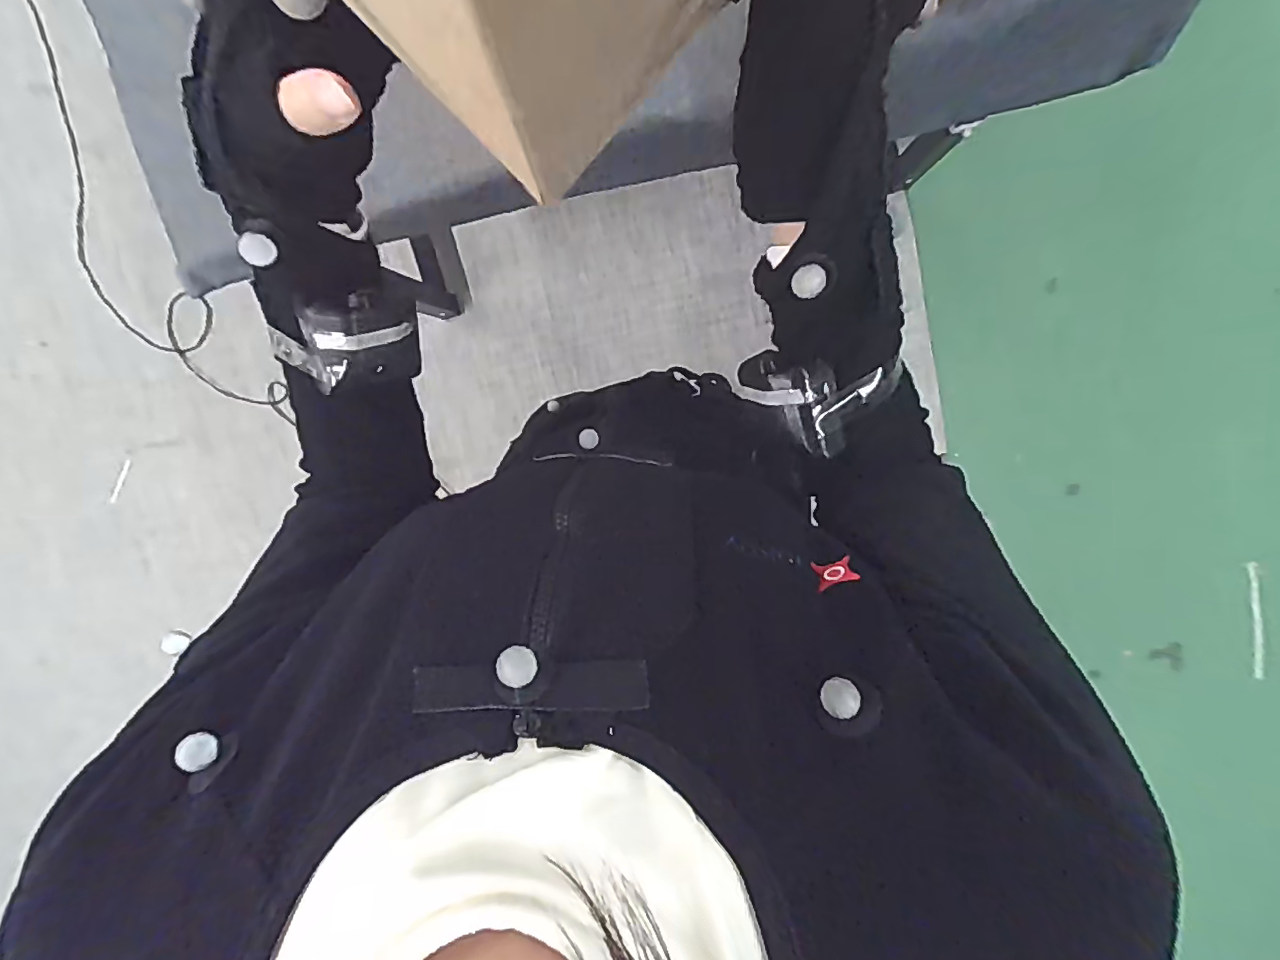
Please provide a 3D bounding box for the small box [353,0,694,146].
[{"bbox_3d":[-0.037,-0.210,0.113,0.179,0.176,0.168,42,97,-13],"label":"small box"}]
